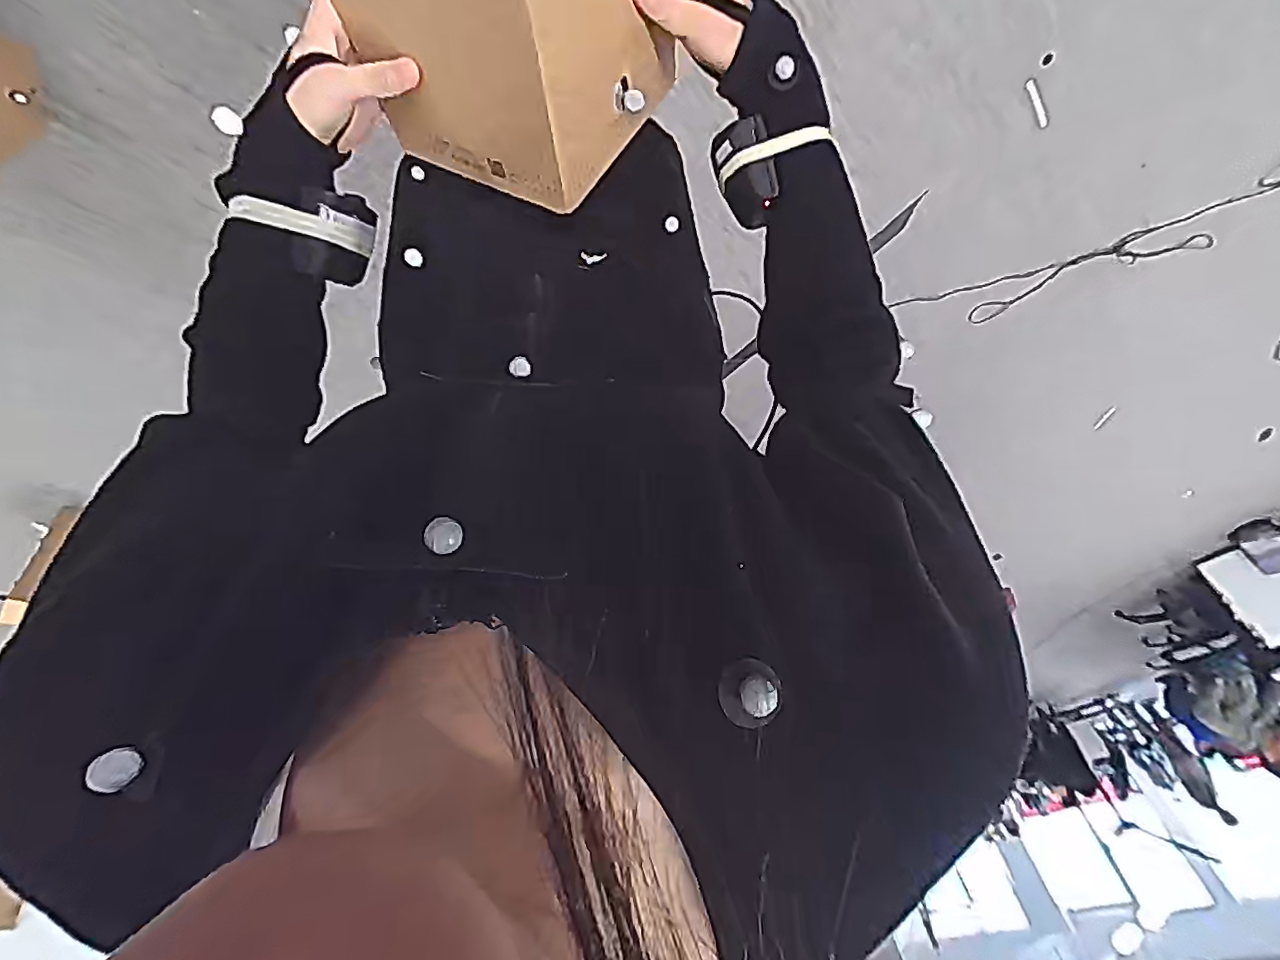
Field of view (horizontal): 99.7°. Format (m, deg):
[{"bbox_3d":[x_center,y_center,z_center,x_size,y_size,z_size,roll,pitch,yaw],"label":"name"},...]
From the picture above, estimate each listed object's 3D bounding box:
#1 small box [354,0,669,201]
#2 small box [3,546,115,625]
[{"bbox_3d":[-0.085,-0.342,0.378,0.168,0.179,0.176,26,161,11],"label":"small box"},{"bbox_3d":[-1.788,0.324,1.669,0.168,0.176,0.179,-36,137,28],"label":"small box"}]
